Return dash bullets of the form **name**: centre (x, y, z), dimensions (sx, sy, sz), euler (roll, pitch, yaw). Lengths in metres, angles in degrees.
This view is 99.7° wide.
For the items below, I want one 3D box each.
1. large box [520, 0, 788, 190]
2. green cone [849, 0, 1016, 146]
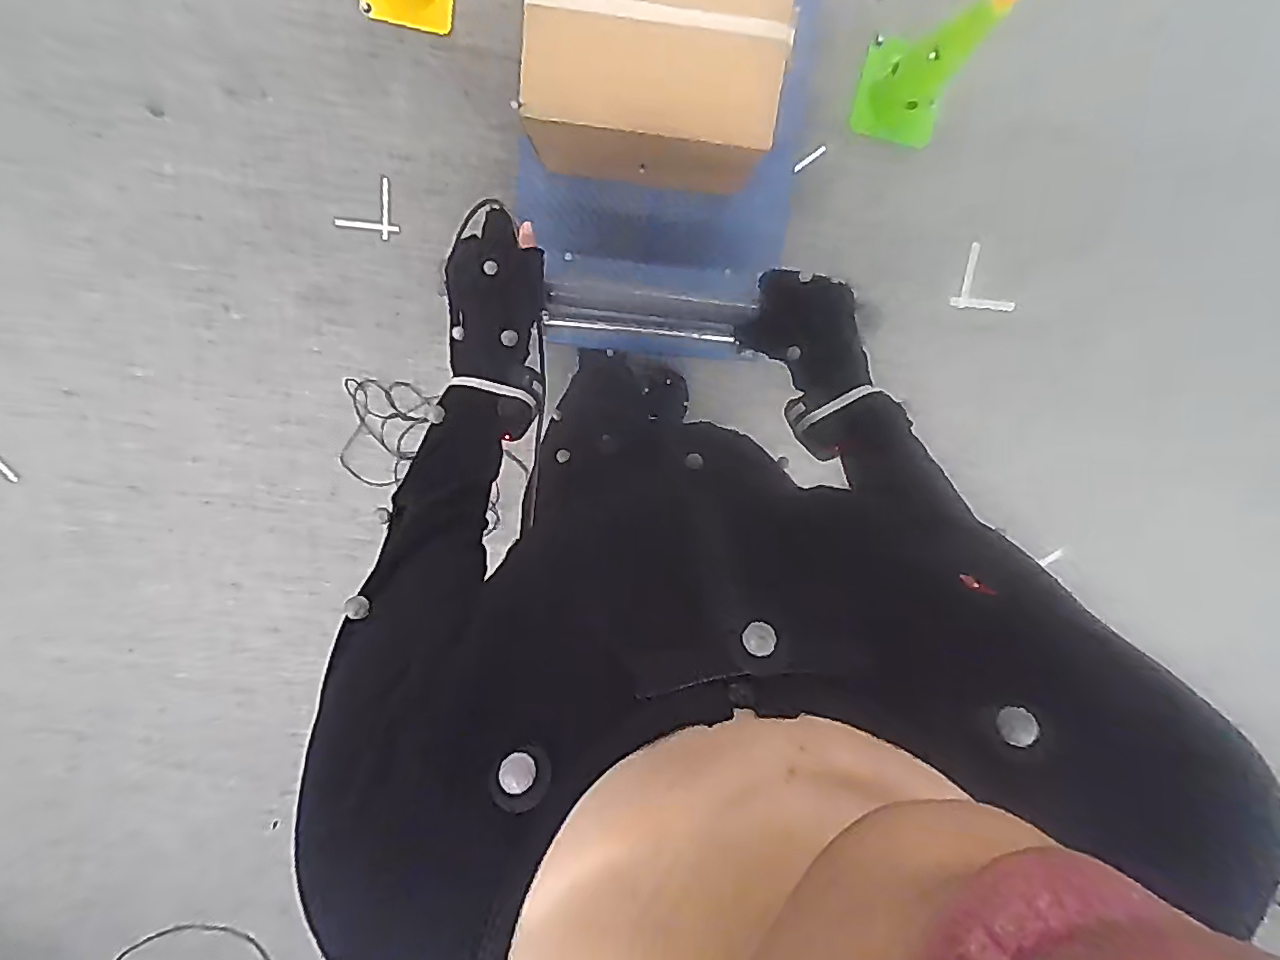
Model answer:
- **large box**: centre (0.021, -0.736, 0.964), dimensions (0.408, 0.320, 0.320), euler (6, 105, -3)
- **green cone**: centre (0.612, -0.863, 1.098), dimensions (0.202, 0.368, 0.200), euler (10, 104, -6)
